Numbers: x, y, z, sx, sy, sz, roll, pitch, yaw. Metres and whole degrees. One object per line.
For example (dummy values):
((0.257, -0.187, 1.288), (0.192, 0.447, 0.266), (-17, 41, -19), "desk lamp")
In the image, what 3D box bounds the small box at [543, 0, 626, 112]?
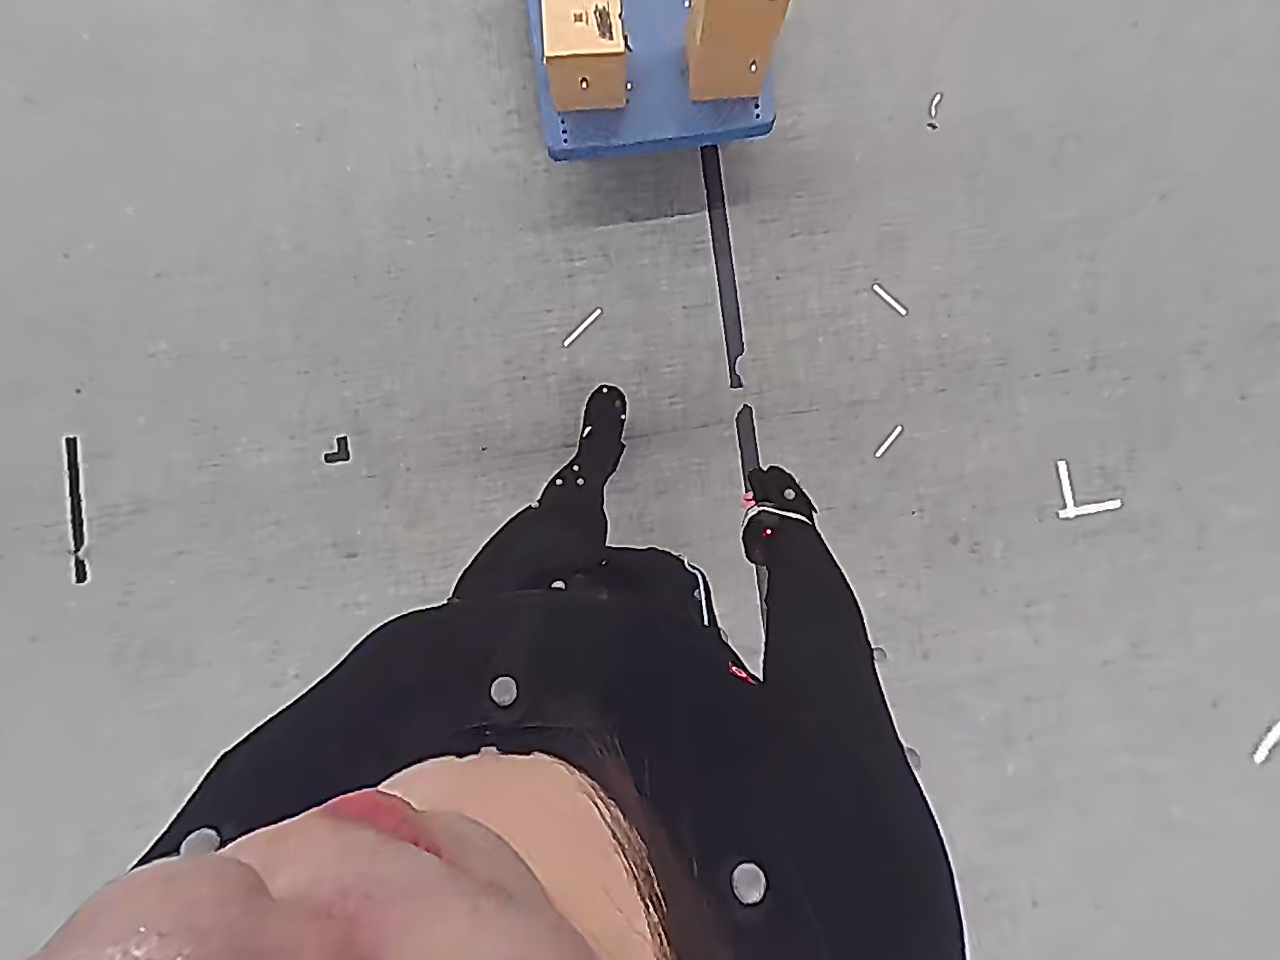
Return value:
((-0.122, -0.988, 1.247), (0.179, 0.176, 0.168), (-4, 88, 0), "small box")

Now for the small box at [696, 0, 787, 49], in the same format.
((0.205, -1.013, 1.088), (0.179, 0.176, 0.168), (-2, 88, -2), "small box")

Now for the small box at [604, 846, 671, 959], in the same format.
((-0.007, 1.071, 1.383), (0.168, 0.176, 0.179), (-1, 89, 1), "small box")
